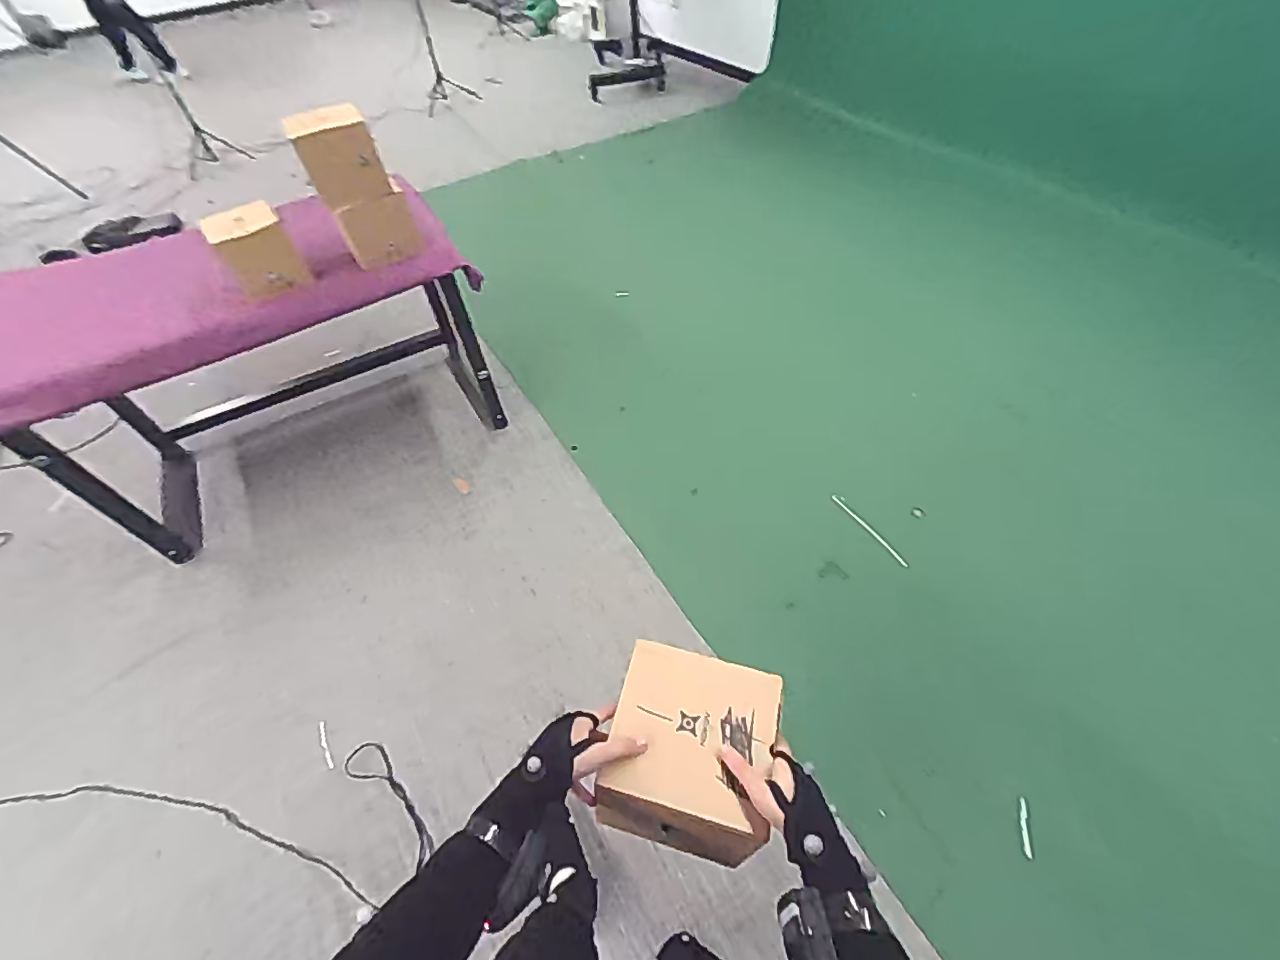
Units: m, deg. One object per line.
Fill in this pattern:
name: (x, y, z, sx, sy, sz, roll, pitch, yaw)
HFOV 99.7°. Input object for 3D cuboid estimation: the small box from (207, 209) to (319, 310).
small box: (-0.987, -0.577, 1.421, 0.168, 0.176, 0.179, -33, 55, -20)

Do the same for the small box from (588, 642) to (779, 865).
small box: (0.049, 0.320, 0.627, 0.179, 0.176, 0.168, 13, 47, 9)

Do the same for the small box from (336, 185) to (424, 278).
small box: (-0.720, -0.689, 1.491, 0.179, 0.176, 0.168, -30, 55, -18)

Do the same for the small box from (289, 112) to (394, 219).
small box: (-0.744, -0.792, 1.365, 0.179, 0.176, 0.168, -25, 54, -14)
